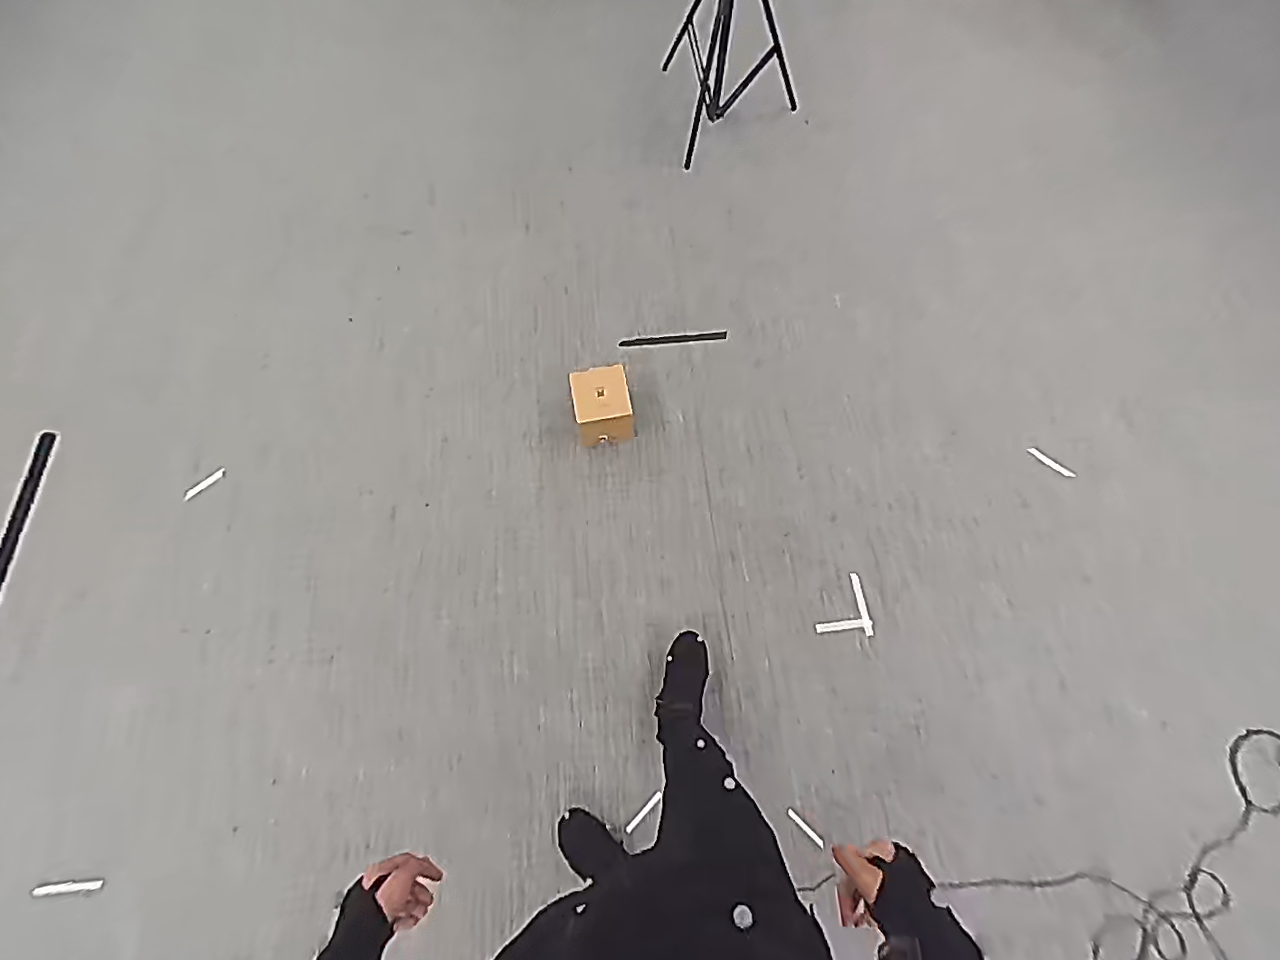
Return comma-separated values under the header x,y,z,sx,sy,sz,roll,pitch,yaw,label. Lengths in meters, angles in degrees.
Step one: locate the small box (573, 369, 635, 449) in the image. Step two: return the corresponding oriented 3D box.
x,y,z,sx,sy,sz,roll,pitch,yaw,label
-0.110,-0.215,1.663,0.168,0.176,0.179,-10,69,-4,small box
